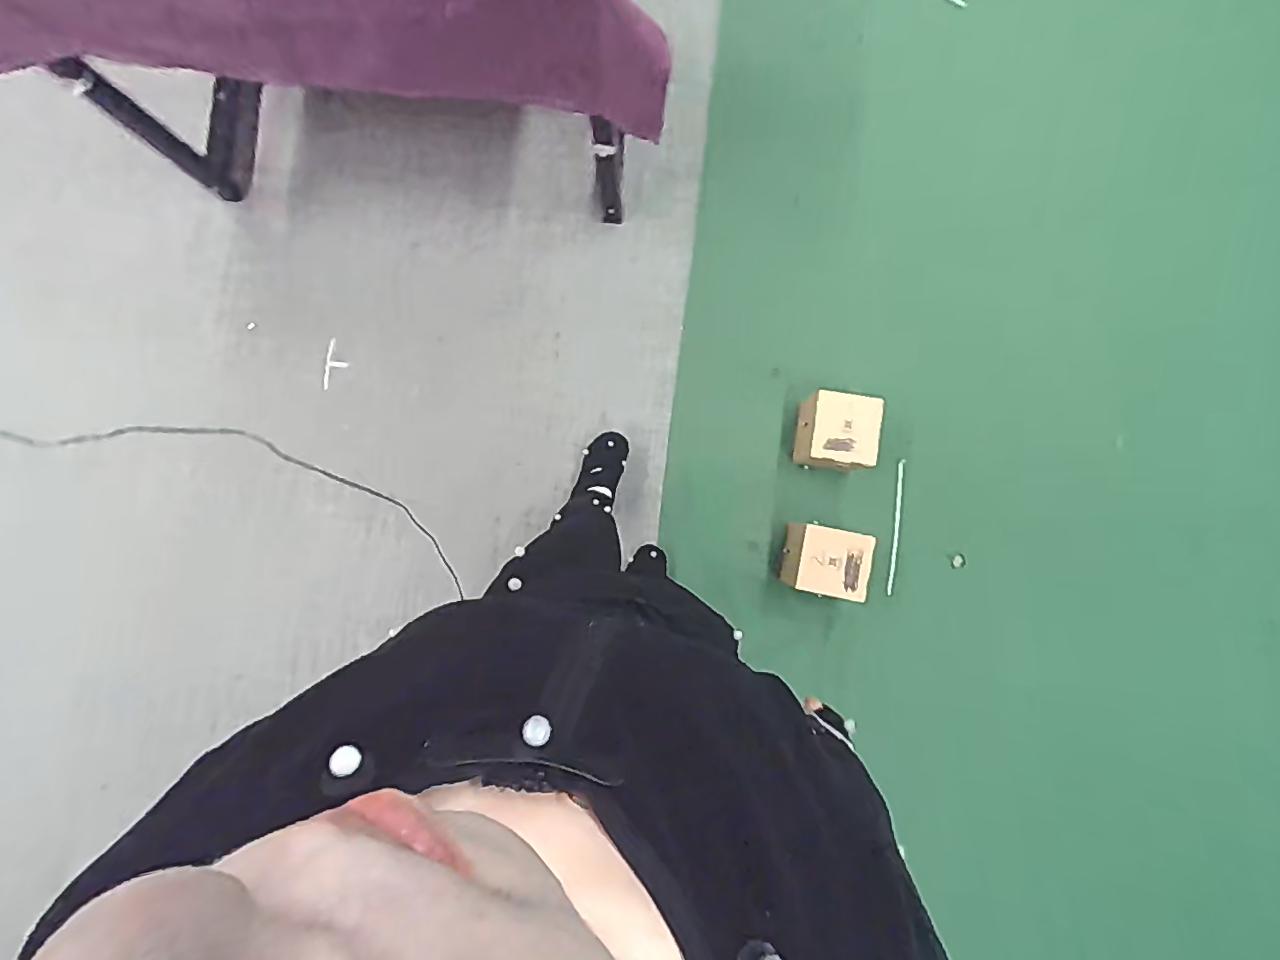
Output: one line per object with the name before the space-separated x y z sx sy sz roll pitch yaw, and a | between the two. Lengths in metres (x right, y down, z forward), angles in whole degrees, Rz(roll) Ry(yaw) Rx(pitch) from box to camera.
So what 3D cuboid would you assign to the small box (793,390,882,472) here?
small box | 0.516 -0.121 1.434 0.168 0.176 0.179 10 85 1
